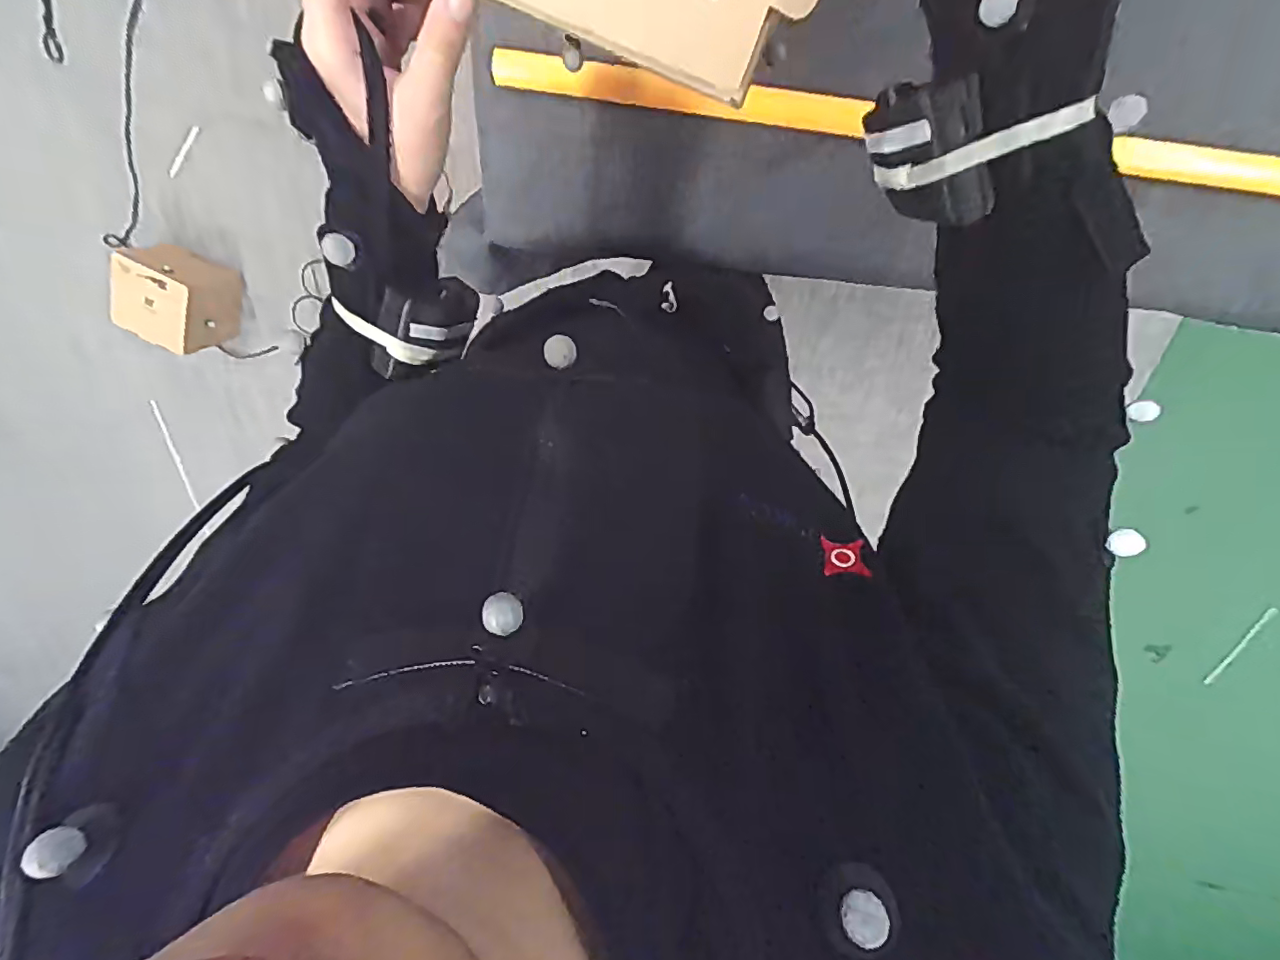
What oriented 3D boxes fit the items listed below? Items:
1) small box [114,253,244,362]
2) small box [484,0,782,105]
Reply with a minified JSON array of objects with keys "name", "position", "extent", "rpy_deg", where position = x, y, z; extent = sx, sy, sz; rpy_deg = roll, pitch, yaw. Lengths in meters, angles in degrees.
[{"name":"small box","position":[-1.078,-0.410,1.274],"extent":[0.168,0.176,0.179],"rpy_deg":[27,118,-8]},{"name":"small box","position":[0.002,-0.304,0.256],"extent":[0.179,0.176,0.168],"rpy_deg":[21,124,-2]}]
